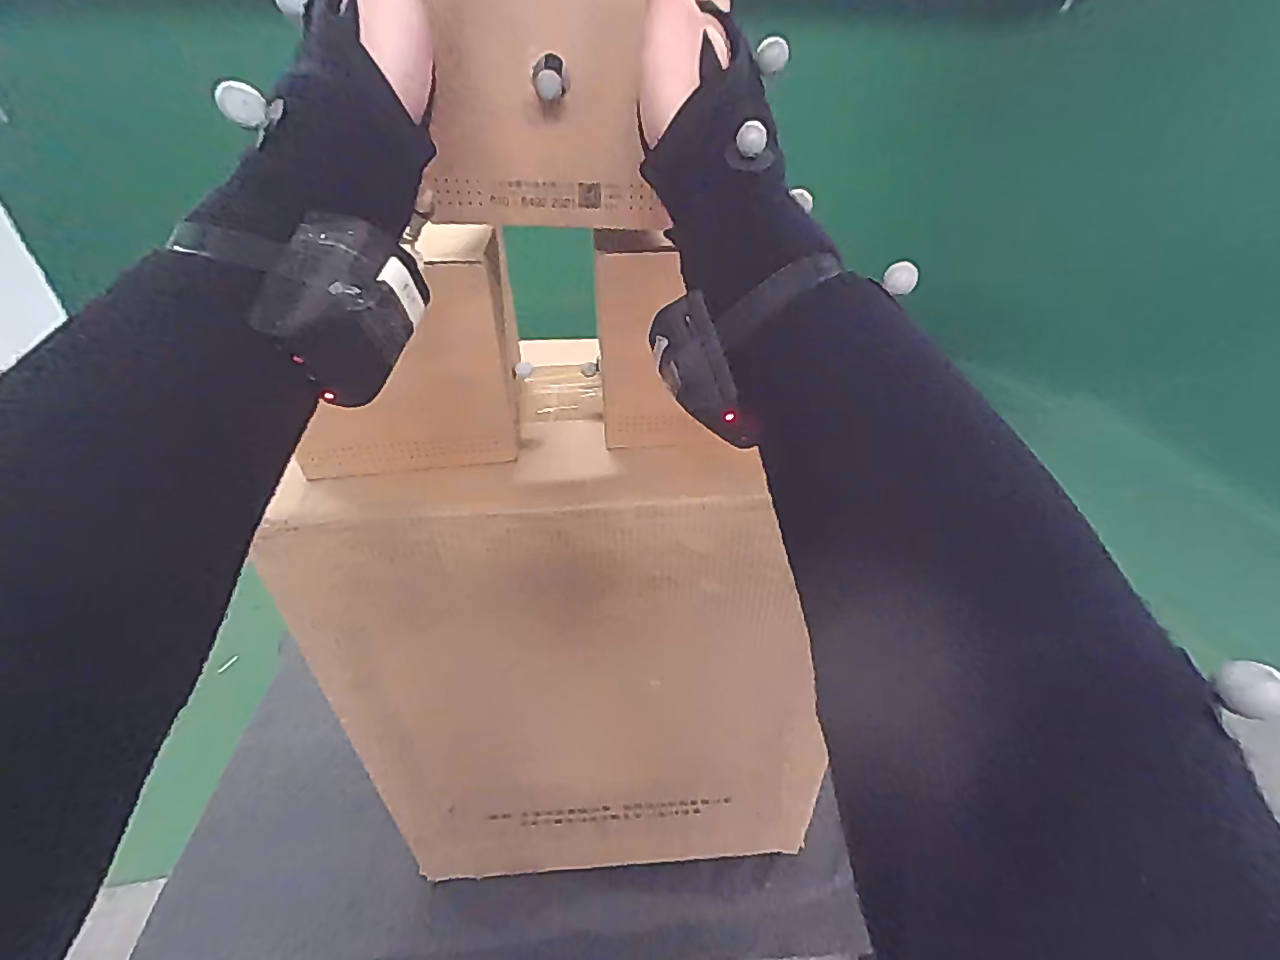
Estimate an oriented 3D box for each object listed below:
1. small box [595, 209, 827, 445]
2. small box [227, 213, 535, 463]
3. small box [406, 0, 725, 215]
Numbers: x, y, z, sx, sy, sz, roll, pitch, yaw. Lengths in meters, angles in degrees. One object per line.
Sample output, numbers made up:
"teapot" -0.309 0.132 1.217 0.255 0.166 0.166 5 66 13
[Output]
"small box" 0.050 -0.146 0.507 0.179 0.176 0.168 -4 35 -3
"small box" -0.200 -0.127 0.483 0.179 0.176 0.168 -3 38 -2
"small box" -0.051 -0.294 0.379 0.179 0.176 0.168 -20 42 -25
